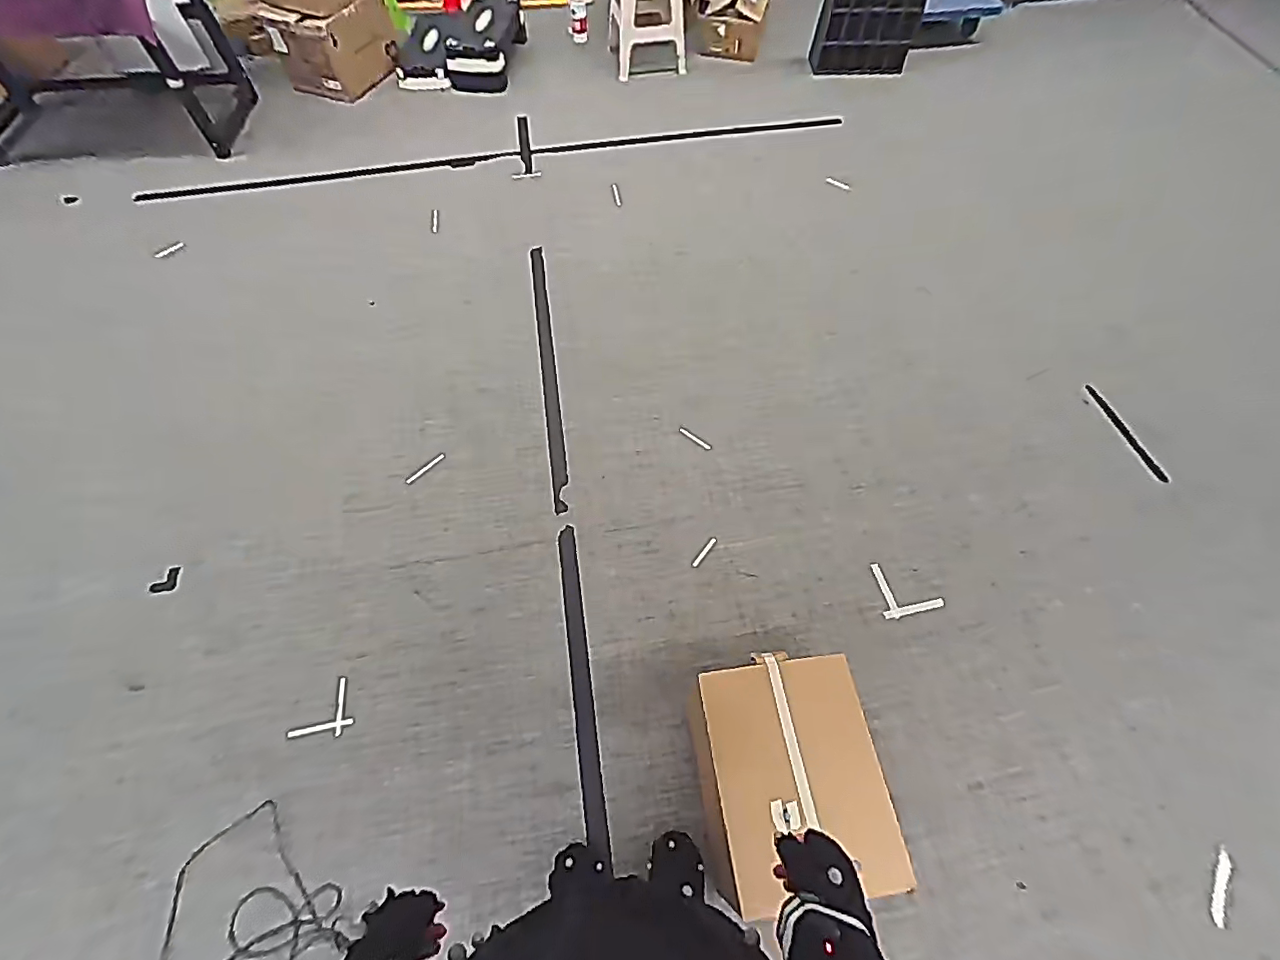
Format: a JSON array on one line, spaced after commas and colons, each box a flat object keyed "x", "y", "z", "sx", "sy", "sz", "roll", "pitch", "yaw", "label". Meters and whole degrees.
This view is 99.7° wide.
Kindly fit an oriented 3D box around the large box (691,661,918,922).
[{"x": 0.306, "y": 0.638, "z": 1.155, "sx": 0.320, "sy": 0.320, "sz": 0.408, "roll": -6, "pitch": 61, "yaw": -4, "label": "large box"}]
